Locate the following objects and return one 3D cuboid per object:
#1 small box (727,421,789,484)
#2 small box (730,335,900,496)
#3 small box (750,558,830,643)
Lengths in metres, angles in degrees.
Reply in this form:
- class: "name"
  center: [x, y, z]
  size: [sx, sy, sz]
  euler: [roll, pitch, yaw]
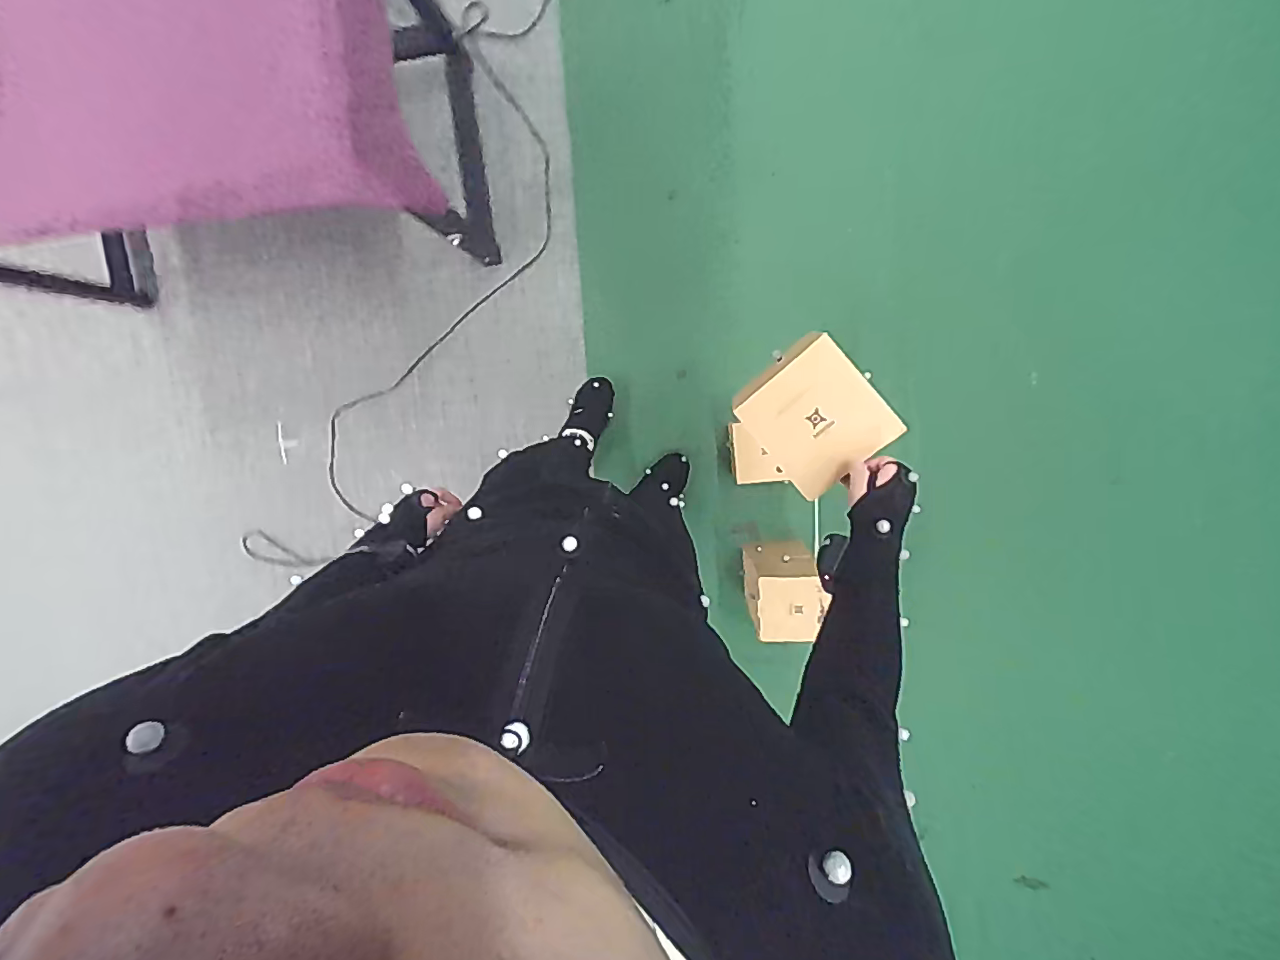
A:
- class: "small box"
  center: [0.337, -0.084, 1.503]
  size: [0.179, 0.176, 0.168]
  euler: [-5, 97, 4]
- class: "small box"
  center: [0.258, -0.109, 0.836]
  size: [0.168, 0.176, 0.179]
  euler: [-41, 96, 17]
- class: "small box"
  center: [0.376, 0.302, 1.385]
  size: [0.179, 0.176, 0.168]
  euler: [-1, 99, 6]
